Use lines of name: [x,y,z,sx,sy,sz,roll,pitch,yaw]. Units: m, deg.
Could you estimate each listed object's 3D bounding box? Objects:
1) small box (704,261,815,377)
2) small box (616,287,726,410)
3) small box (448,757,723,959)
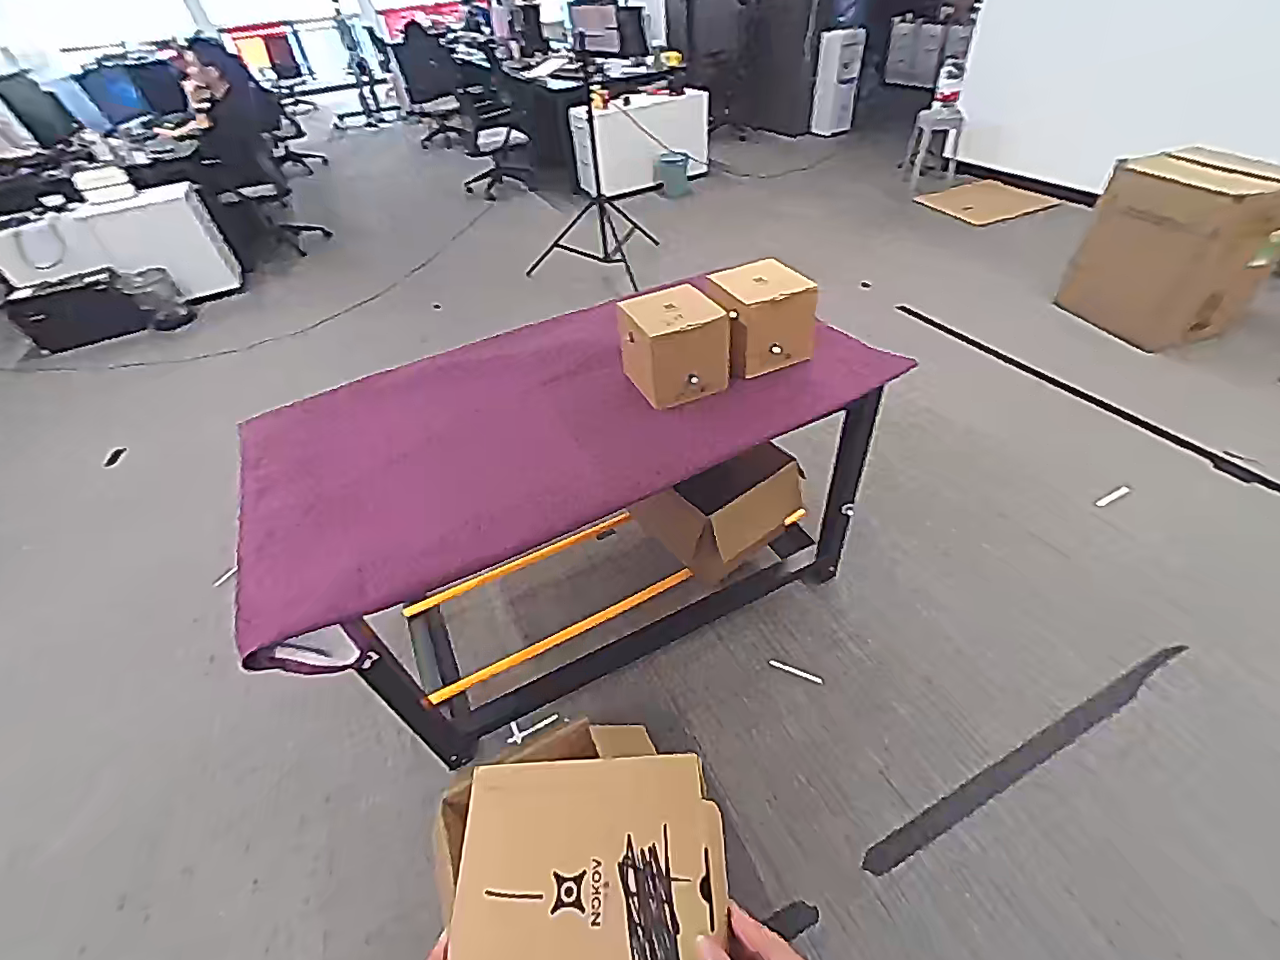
small box: [0.250,-0.349,1.170,0.168,0.176,0.179,-20,44,-13]
small box: [0.063,-0.271,1.113,0.168,0.176,0.179,-20,44,-13]
small box: [-0.030,0.326,0.420,0.179,0.176,0.168,-5,49,4]
